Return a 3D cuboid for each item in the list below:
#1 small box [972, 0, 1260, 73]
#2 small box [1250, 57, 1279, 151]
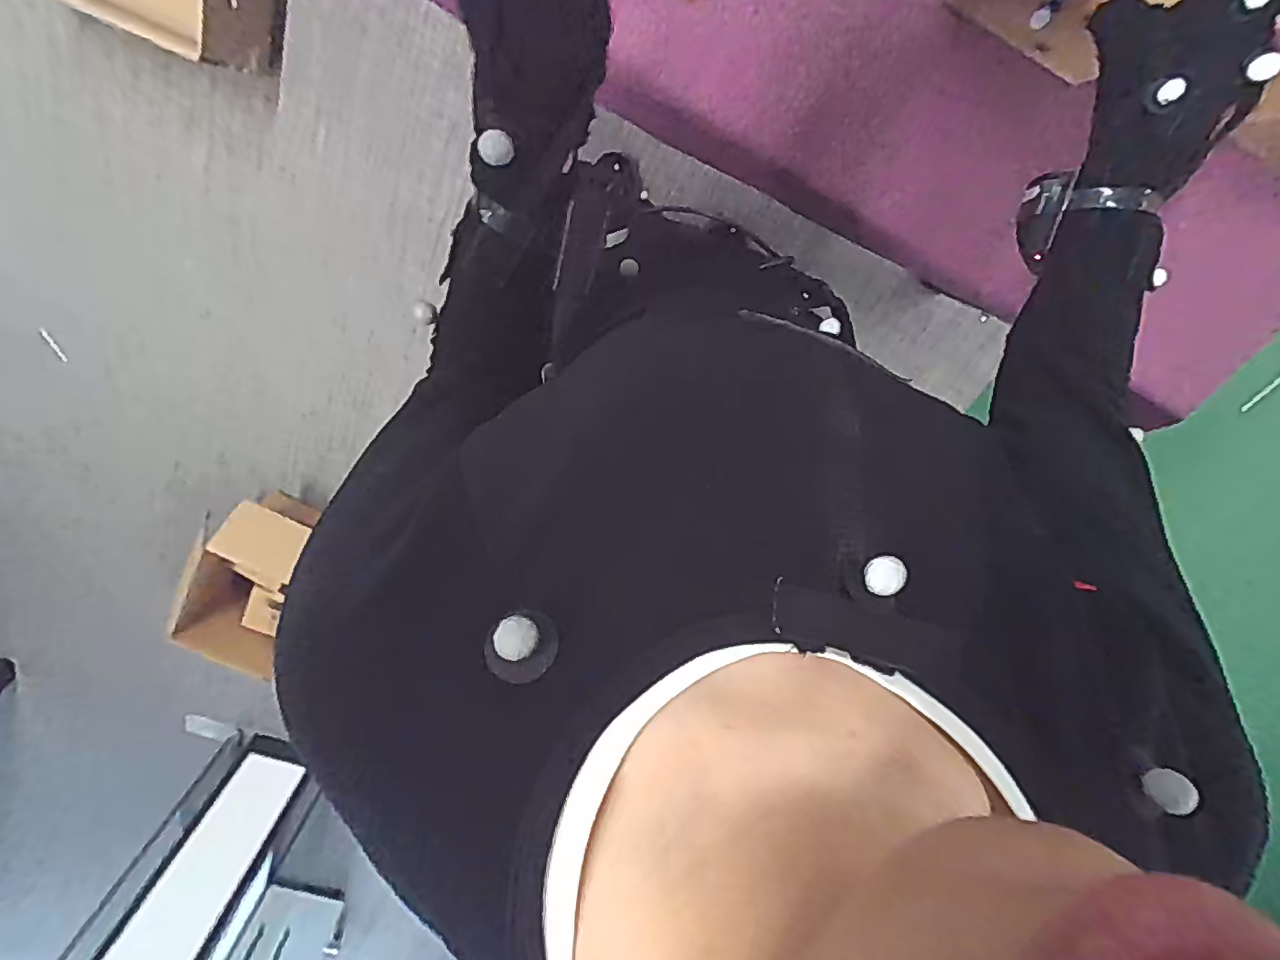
[{"bbox_3d":[0.386,-0.449,0.407,0.168,0.176,0.179,23,117,-10],"label":"small box"},{"bbox_3d":[0.690,-0.352,0.447,0.168,0.176,0.179,25,117,-12],"label":"small box"}]
